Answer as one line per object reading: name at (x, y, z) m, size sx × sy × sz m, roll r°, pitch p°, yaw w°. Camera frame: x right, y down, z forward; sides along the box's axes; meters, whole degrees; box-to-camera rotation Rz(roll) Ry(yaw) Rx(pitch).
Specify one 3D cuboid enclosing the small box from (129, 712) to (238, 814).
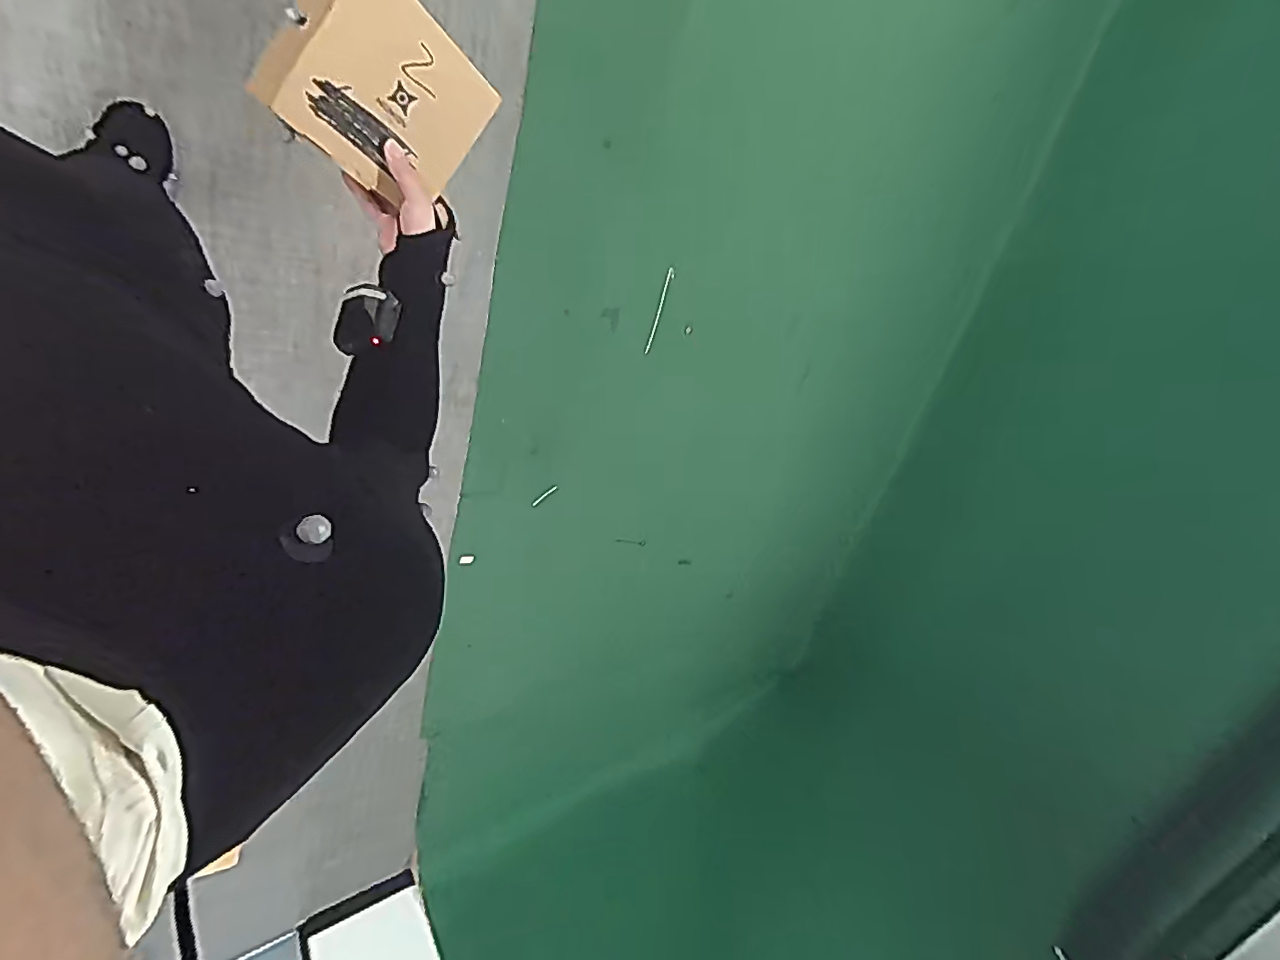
small box at (-1.081, 0.679, 1.282) m, size 0.179 × 0.176 × 0.168 m, roll 8°, pitch 112°, yaw -43°

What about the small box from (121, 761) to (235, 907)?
small box at (-0.991, 0.750, 1.165) m, size 0.168 × 0.176 × 0.179 m, roll 7°, pitch 112°, yaw -43°
